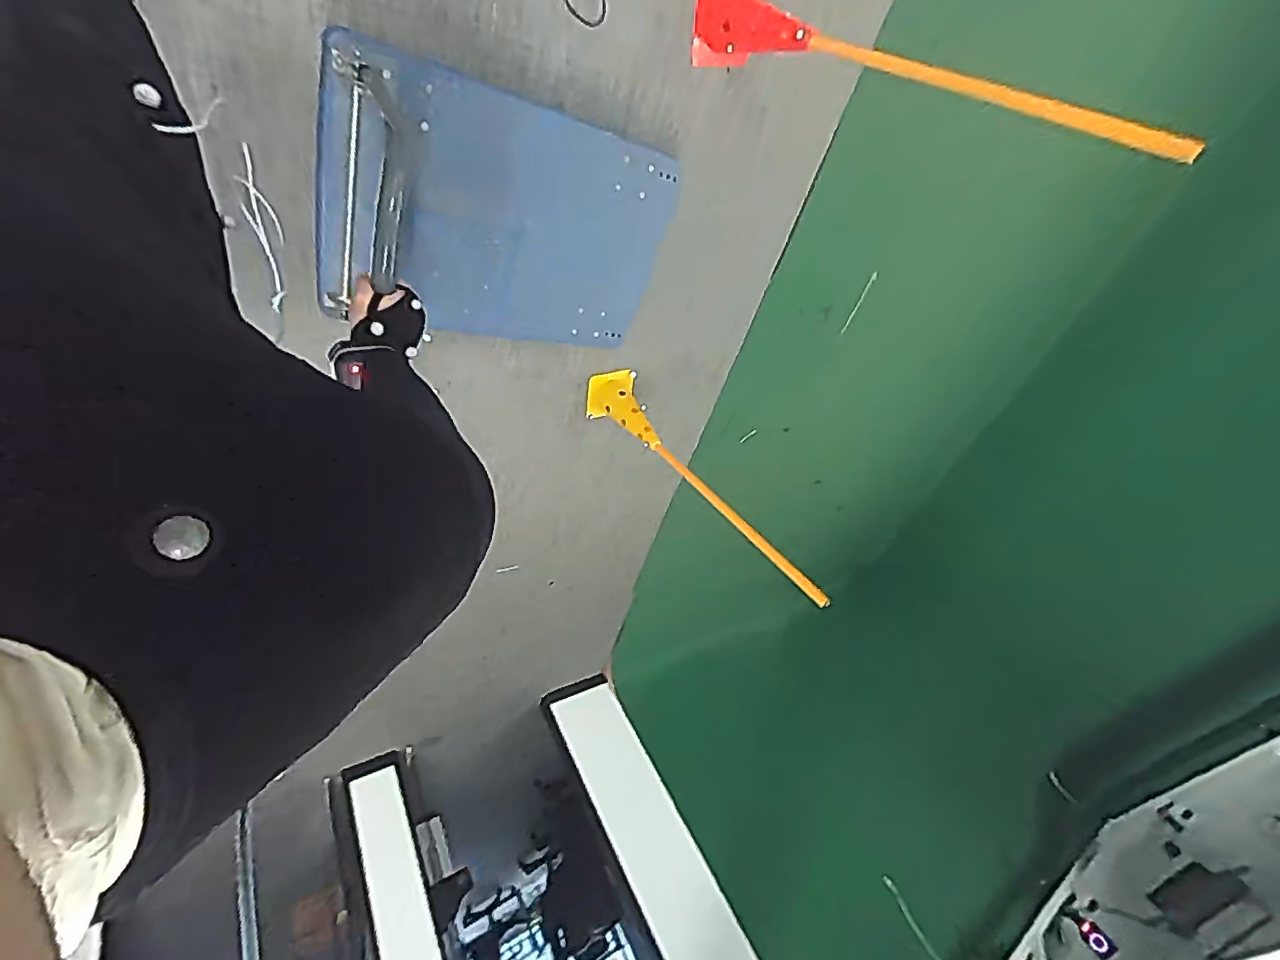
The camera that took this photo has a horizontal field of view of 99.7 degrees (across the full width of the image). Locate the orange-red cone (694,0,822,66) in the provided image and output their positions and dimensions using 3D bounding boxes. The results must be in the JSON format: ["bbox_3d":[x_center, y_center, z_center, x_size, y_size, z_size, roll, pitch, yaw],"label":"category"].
[{"bbox_3d":[0.321,-1.142,1.365,0.198,0.360,0.199,-20,139,-24],"label":"orange-red cone"}]
